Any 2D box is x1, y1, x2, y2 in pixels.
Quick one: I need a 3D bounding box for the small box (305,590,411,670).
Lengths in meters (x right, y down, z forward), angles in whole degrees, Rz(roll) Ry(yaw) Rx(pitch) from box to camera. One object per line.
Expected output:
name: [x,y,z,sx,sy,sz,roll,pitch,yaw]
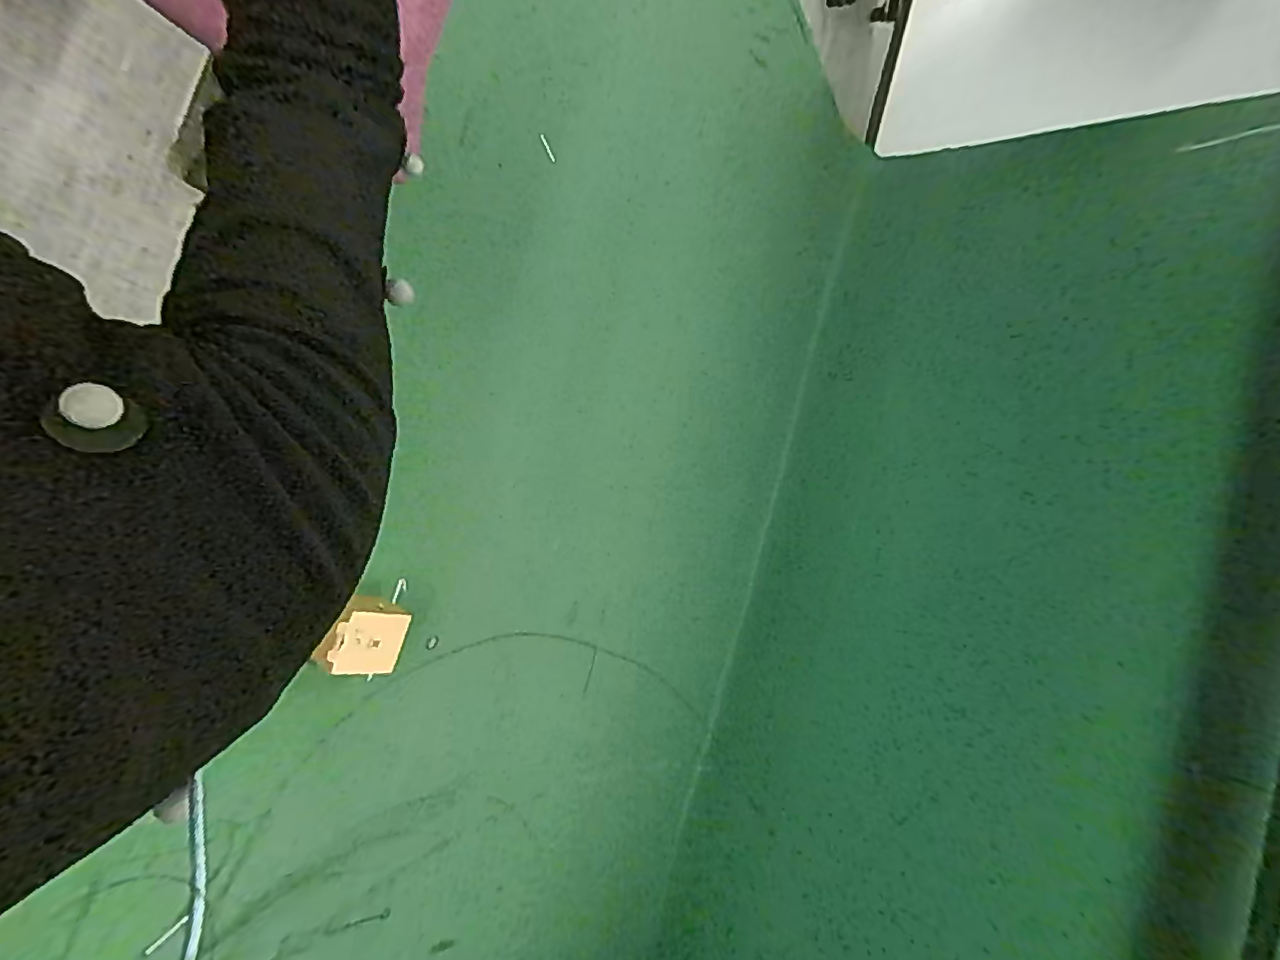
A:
small box: [-0.775,0.410,1.485,0.179,0.176,0.168,26,80,-52]
